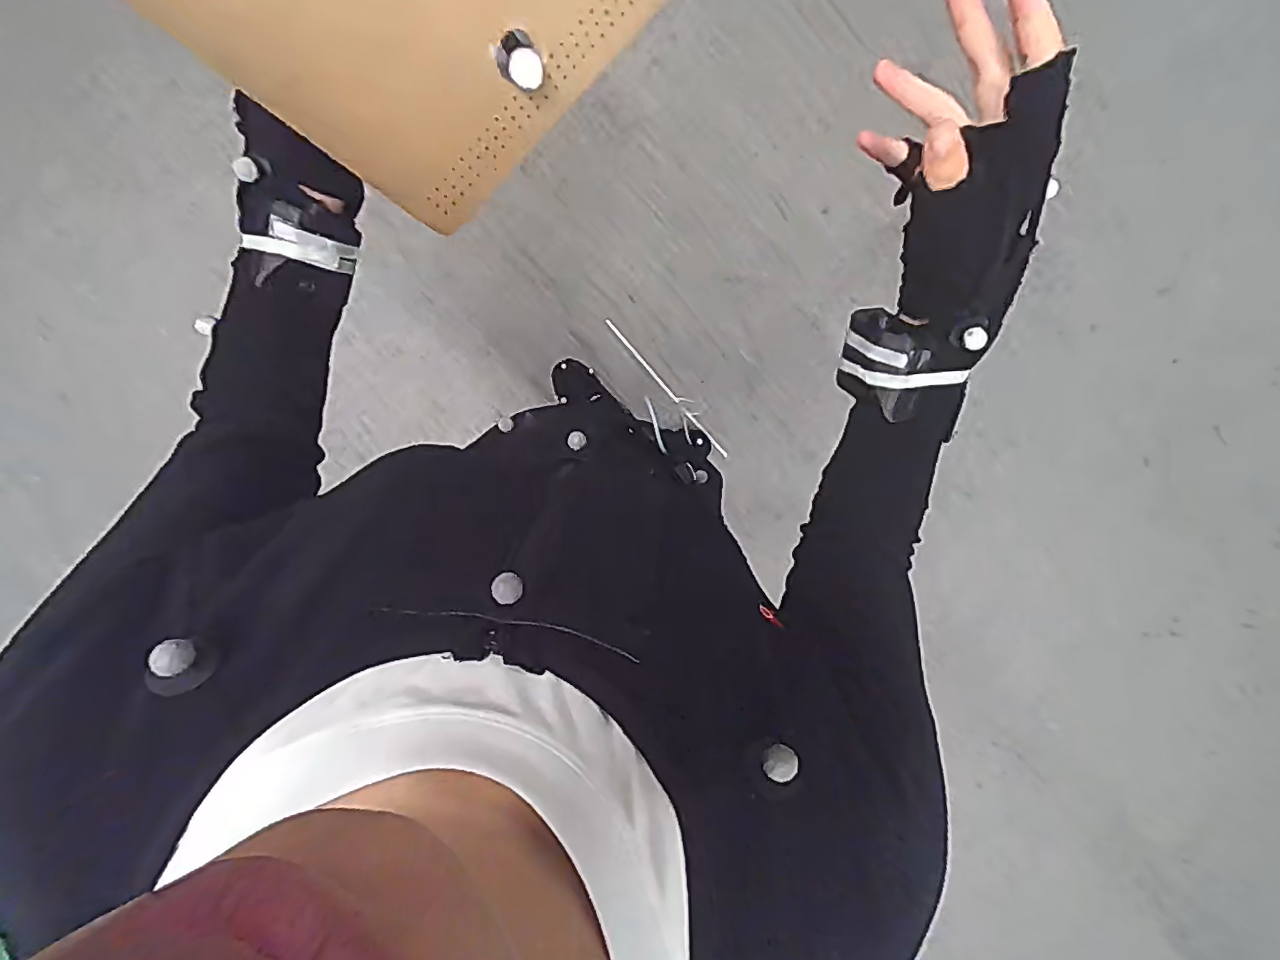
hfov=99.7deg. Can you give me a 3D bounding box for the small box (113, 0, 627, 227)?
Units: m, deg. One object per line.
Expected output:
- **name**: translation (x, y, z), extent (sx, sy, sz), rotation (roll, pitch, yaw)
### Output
- **small box**: translation (-0.123, -0.255, 0.225), extent (0.179, 0.176, 0.168), rotation (-41, 73, 11)
